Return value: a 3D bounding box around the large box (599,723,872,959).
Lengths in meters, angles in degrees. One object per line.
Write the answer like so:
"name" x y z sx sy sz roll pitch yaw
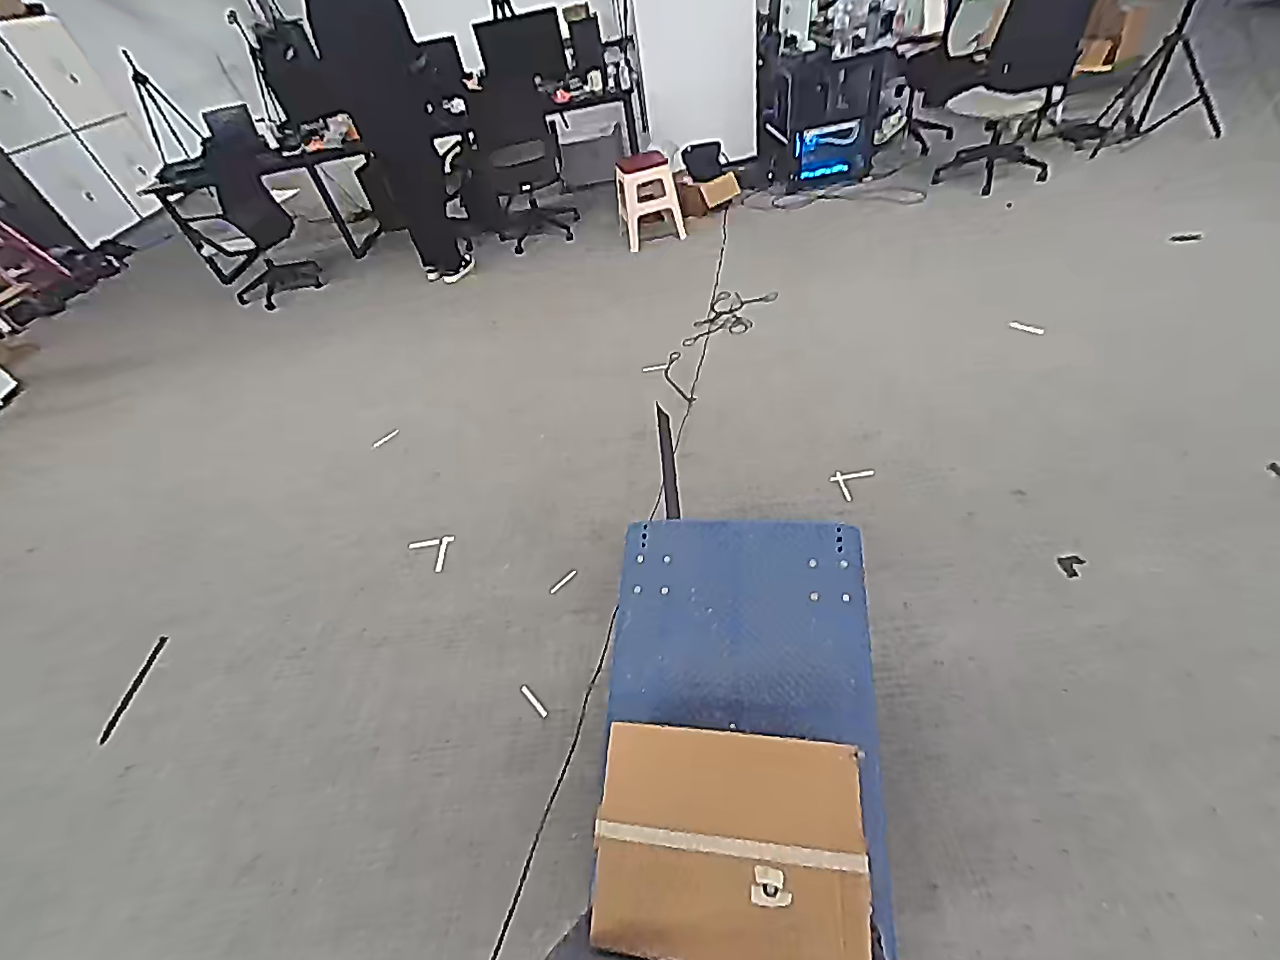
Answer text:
"large box" 0.166 0.629 0.980 0.408 0.320 0.320 0 65 12
